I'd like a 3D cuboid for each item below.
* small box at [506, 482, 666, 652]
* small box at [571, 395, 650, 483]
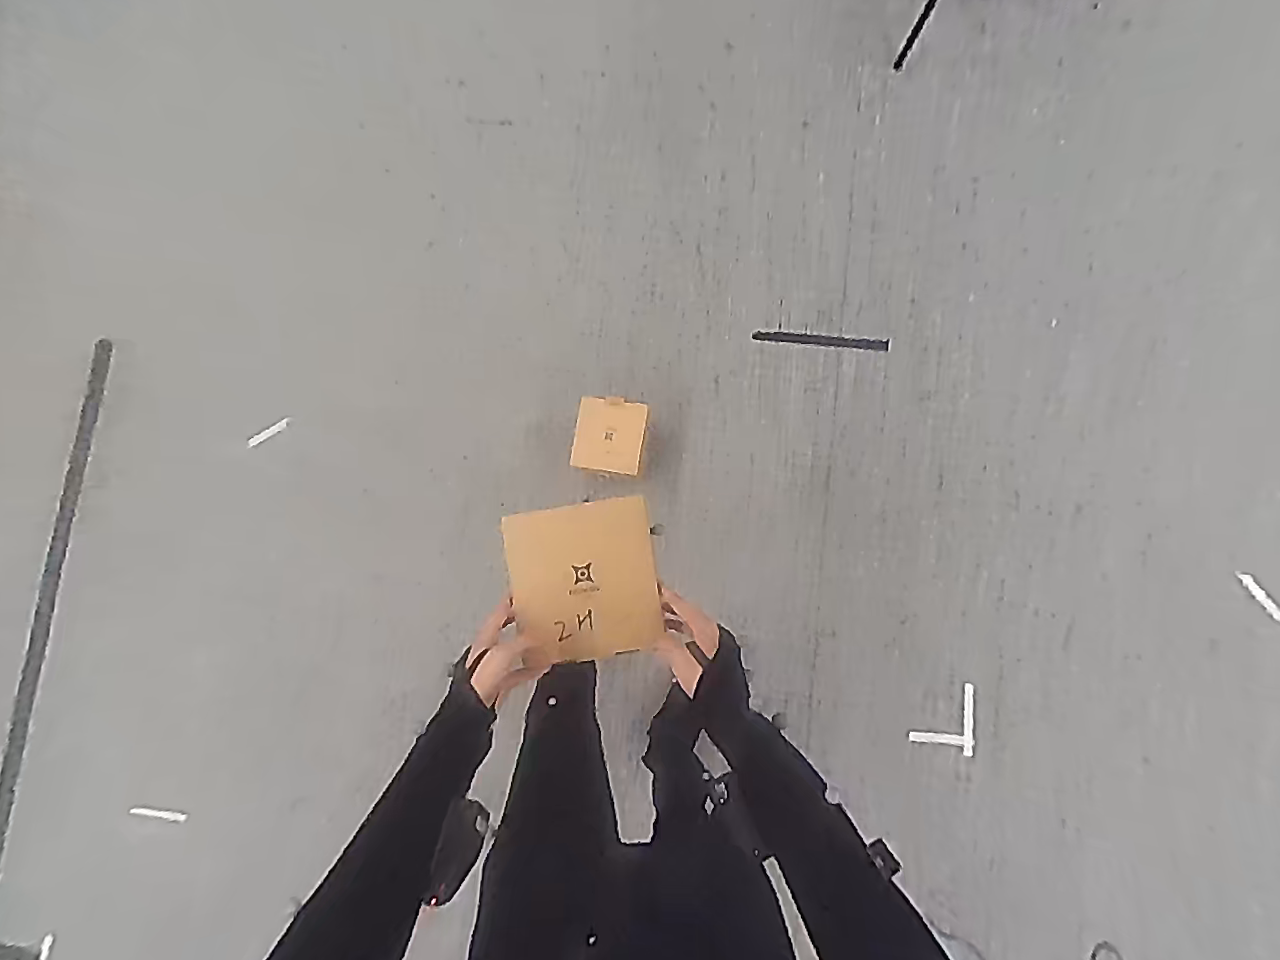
[{"bbox_3d":[-0.061,0.104,0.693,0.168,0.176,0.179,-9,87,2],"label":"small box"},{"bbox_3d":[-0.068,-0.097,1.366,0.168,0.176,0.179,9,84,5],"label":"small box"}]
